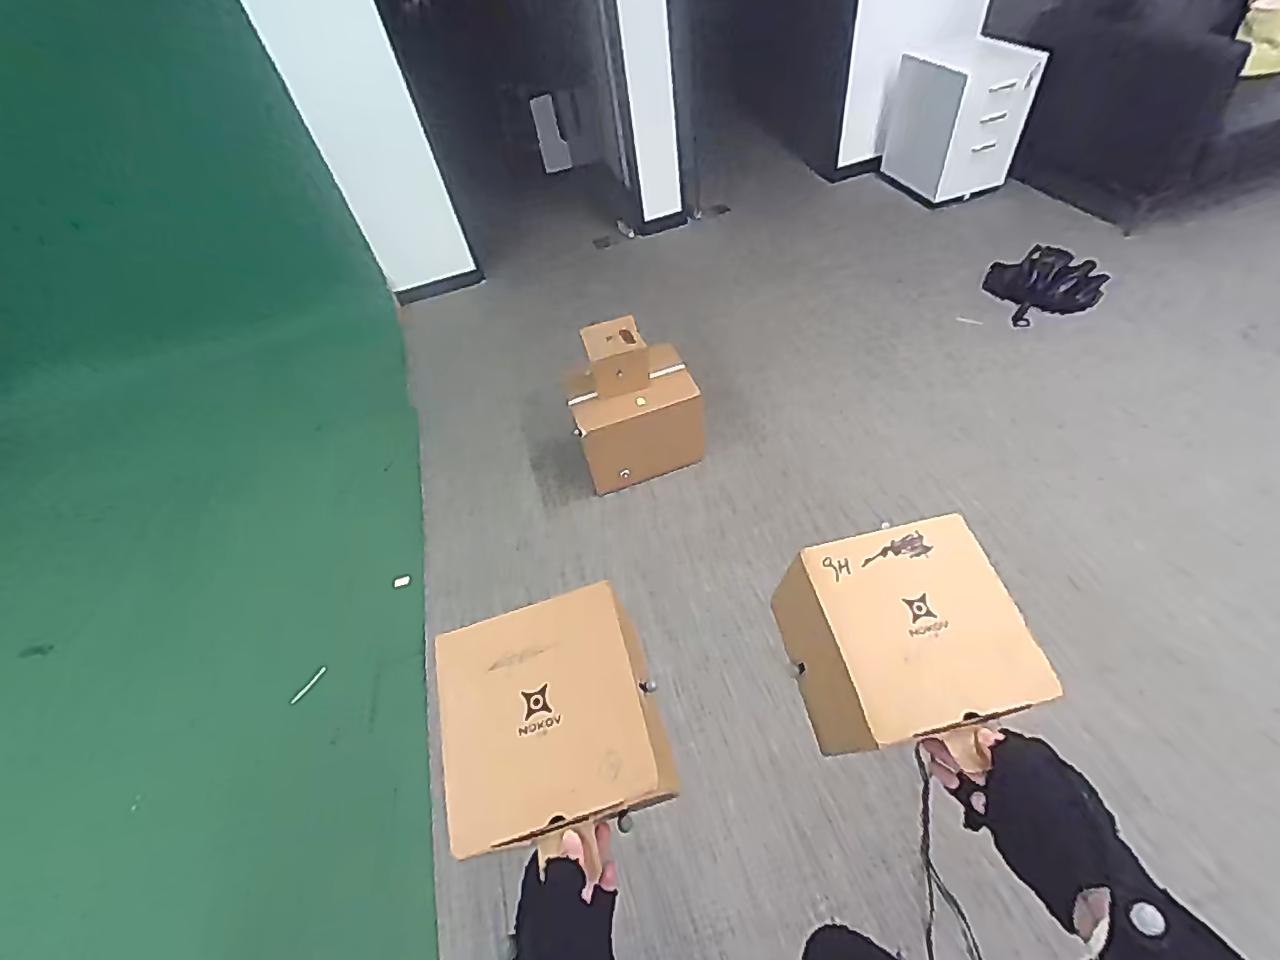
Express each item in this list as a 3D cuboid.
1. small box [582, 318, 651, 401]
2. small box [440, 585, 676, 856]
[{"bbox_3d":[-0.070,-0.382,1.727,0.179,0.176,0.168,-19,55,-6],"label":"small box"},{"bbox_3d":[-0.072,0.231,0.524,0.168,0.176,0.179,-19,57,-2],"label":"small box"}]
